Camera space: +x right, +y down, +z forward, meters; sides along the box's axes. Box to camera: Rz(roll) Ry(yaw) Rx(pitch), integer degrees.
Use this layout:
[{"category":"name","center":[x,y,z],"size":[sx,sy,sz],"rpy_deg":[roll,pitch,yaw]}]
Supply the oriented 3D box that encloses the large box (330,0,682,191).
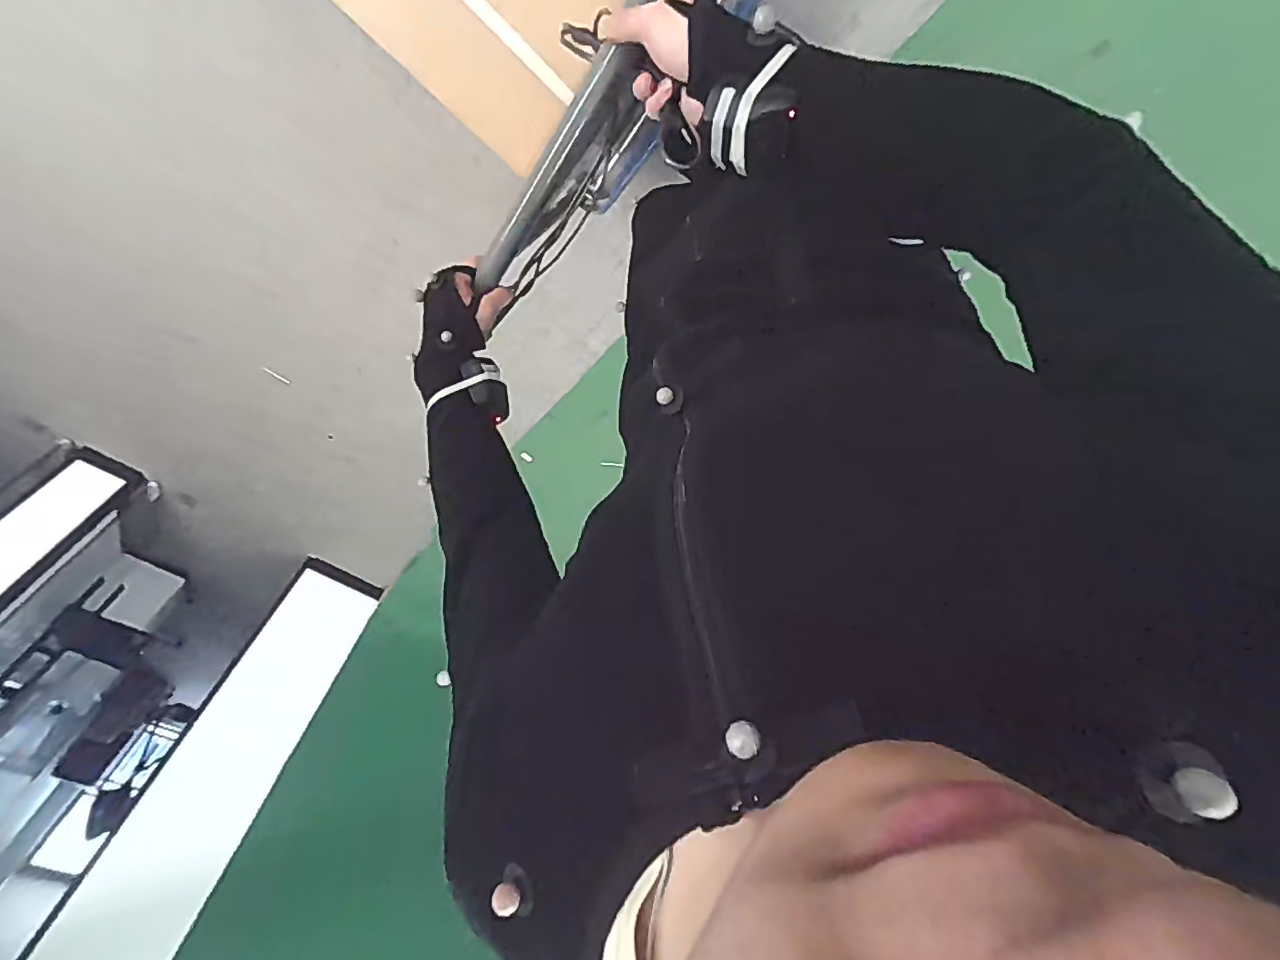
[{"category":"large box","center":[-0.198,-0.782,0.891],"size":[0.408,0.320,0.320],"rpy_deg":[39,132,-17]}]
